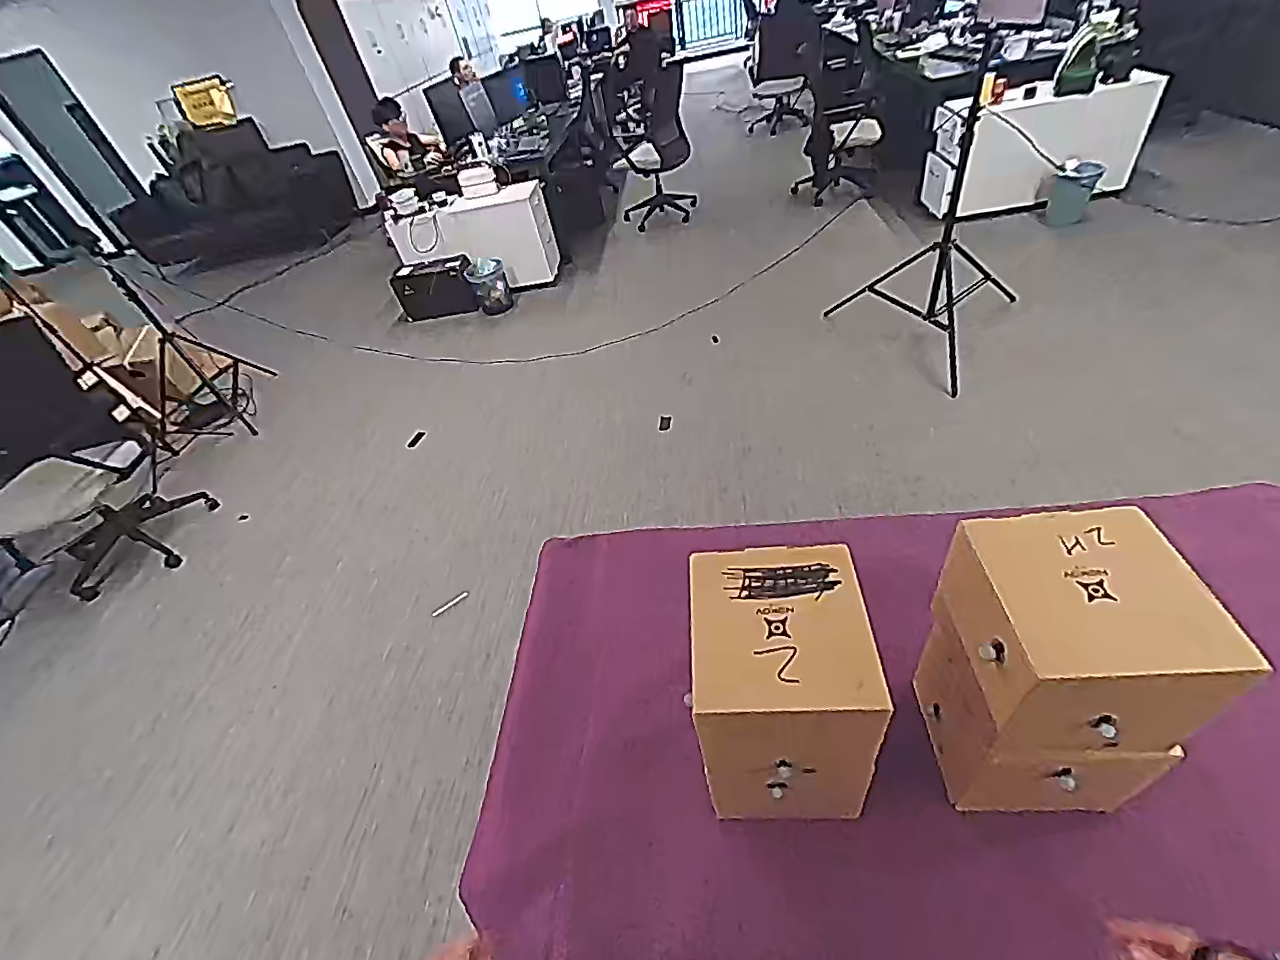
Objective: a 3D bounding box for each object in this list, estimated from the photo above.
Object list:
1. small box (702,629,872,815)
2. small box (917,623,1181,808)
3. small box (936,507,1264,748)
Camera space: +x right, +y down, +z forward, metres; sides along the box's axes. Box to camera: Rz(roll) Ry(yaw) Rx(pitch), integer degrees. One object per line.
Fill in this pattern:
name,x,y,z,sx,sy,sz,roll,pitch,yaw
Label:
small box,0.175,0.307,0.682,0.179,0.176,0.168,-5,43,9
small box,0.457,0.275,0.644,0.179,0.176,0.168,-6,43,10
small box,0.421,0.151,0.540,0.168,0.176,0.179,-5,43,10
